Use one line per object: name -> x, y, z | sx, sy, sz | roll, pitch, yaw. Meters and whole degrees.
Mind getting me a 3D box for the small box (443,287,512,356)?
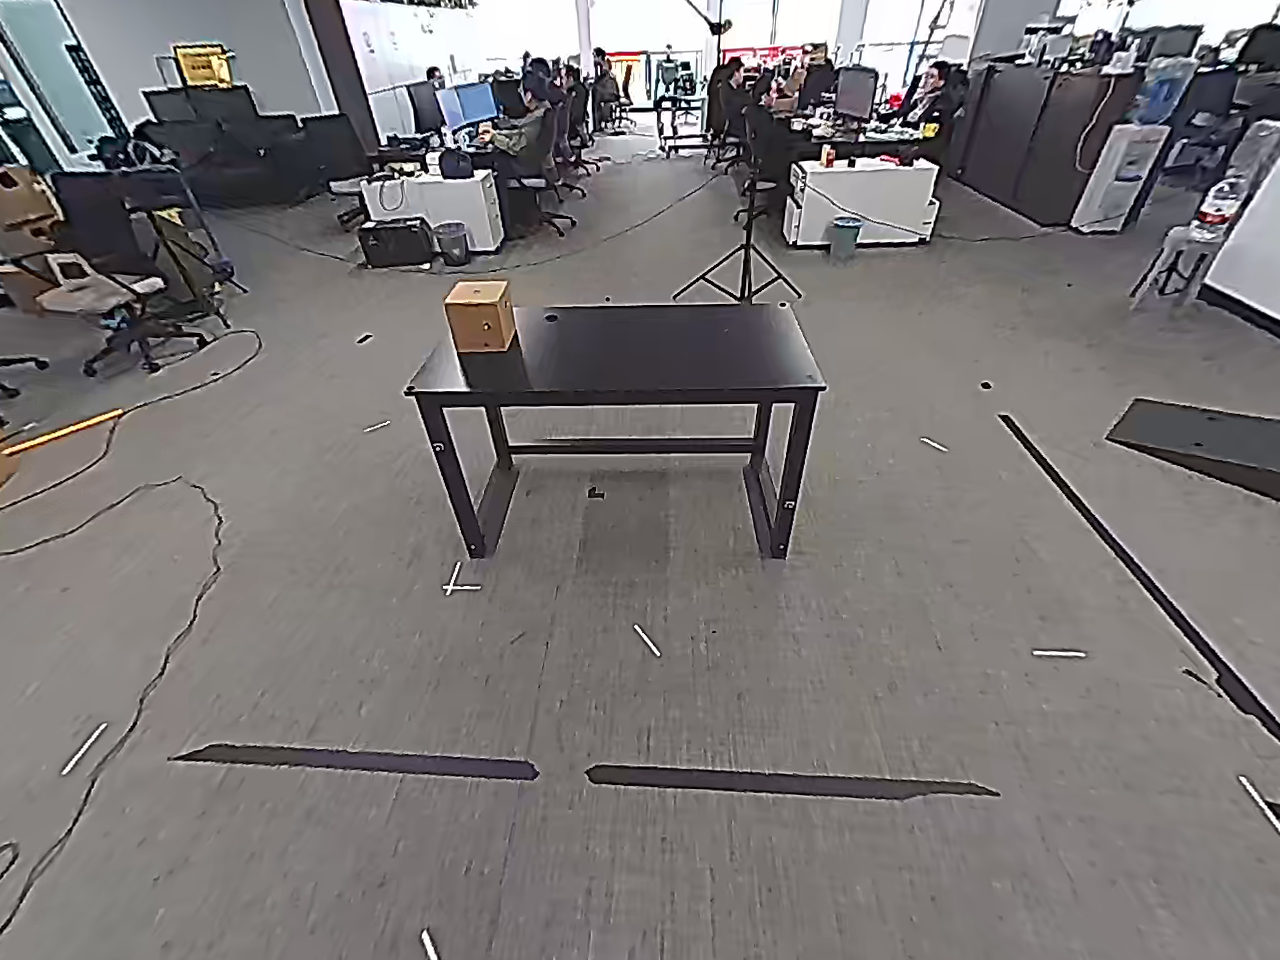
small box -> -0.521, -0.515, 1.765 | 0.168, 0.176, 0.179 | 0, 39, 0
